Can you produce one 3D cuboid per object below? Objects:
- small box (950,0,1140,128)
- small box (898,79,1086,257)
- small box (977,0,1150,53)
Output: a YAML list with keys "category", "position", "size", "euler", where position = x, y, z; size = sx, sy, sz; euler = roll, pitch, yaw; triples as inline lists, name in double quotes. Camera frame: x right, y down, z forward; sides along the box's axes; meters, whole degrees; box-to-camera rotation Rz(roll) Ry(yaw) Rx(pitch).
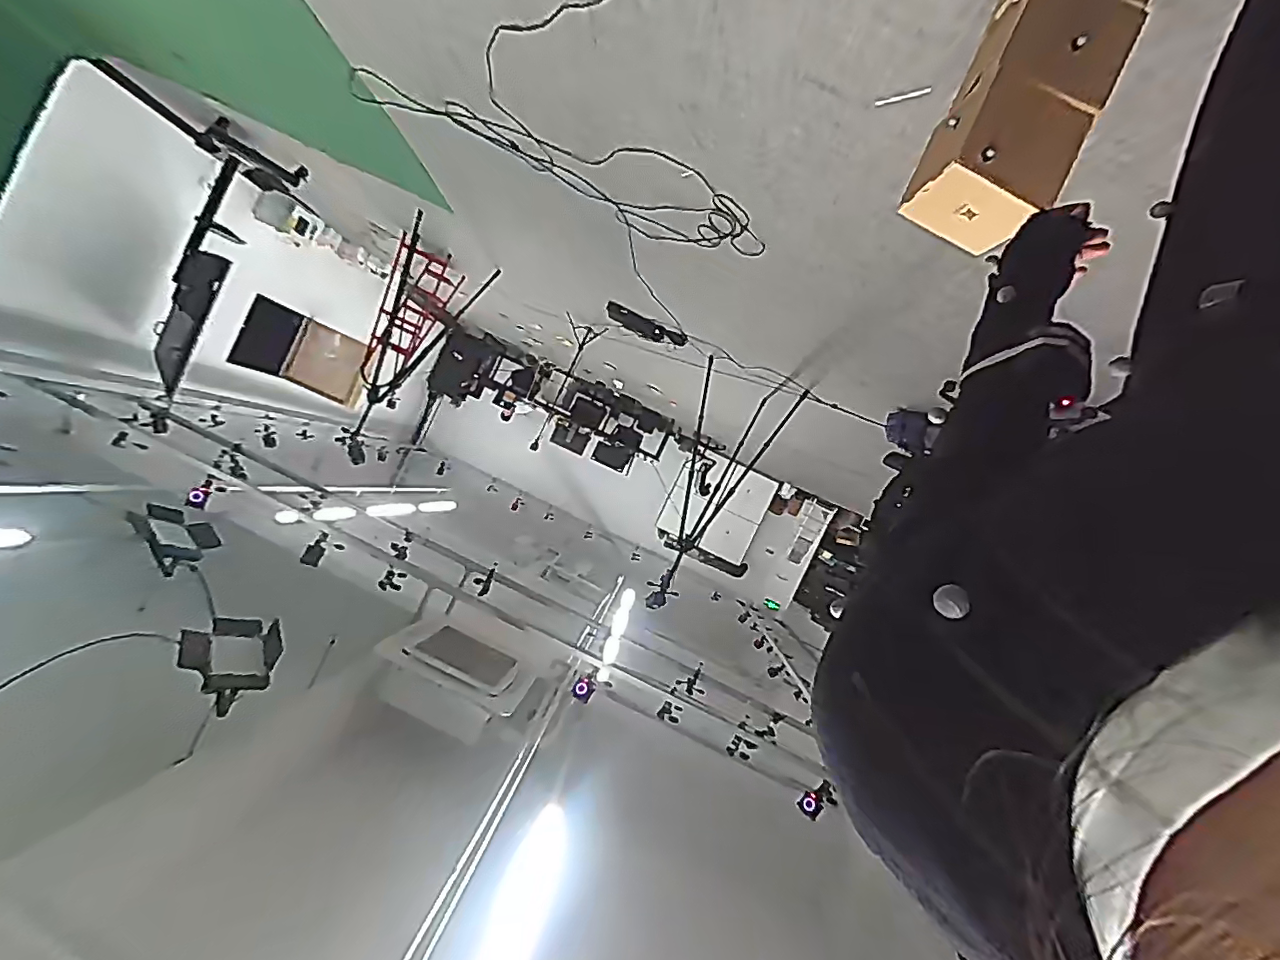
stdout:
- category: "small box"
  position: [0.657, -0.662, 0.900]
  size: [0.179, 0.176, 0.168]
  euler: [25, 180, 0]
- category: "small box"
  position: [0.585, -0.516, 0.908]
  size: [0.179, 0.176, 0.168]
  euler: [26, 180, -5]
- category: "small box"
  position: [0.720, -0.814, 0.898]
  size: [0.179, 0.176, 0.168]
  euler: [26, 180, 1]
